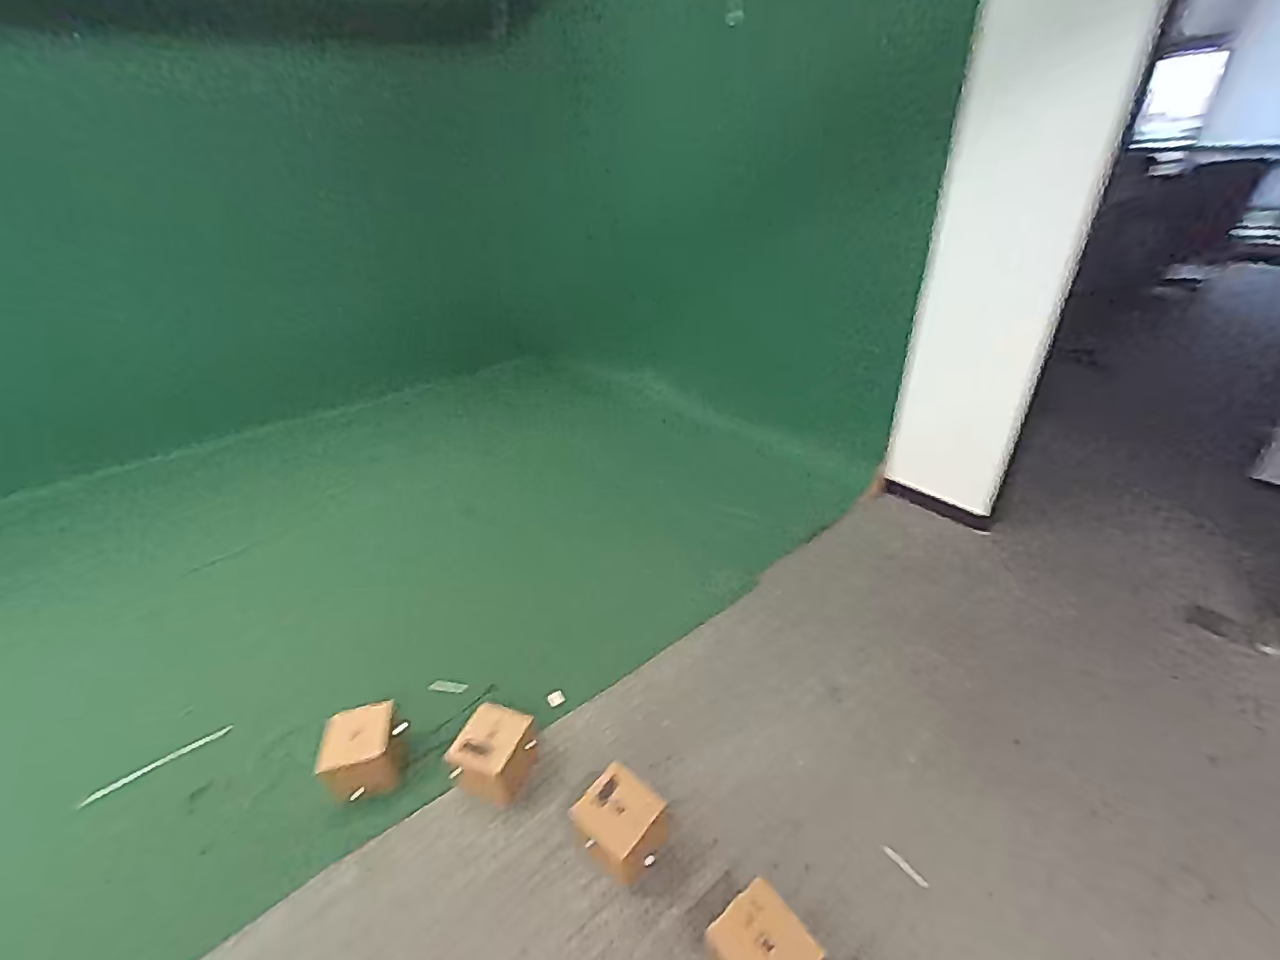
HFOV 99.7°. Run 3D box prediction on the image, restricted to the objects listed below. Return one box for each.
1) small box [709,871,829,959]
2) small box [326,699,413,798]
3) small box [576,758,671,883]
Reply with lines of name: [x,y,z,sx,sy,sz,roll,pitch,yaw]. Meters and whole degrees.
small box: [0.259,0.976,1.116,0.168,0.176,0.179,-23,37,-29]
small box: [-0.771,0.774,1.563,0.168,0.176,0.179,-10,32,-9]
small box: [-0.038,0.850,1.350,0.179,0.176,0.168,23,41,35]
